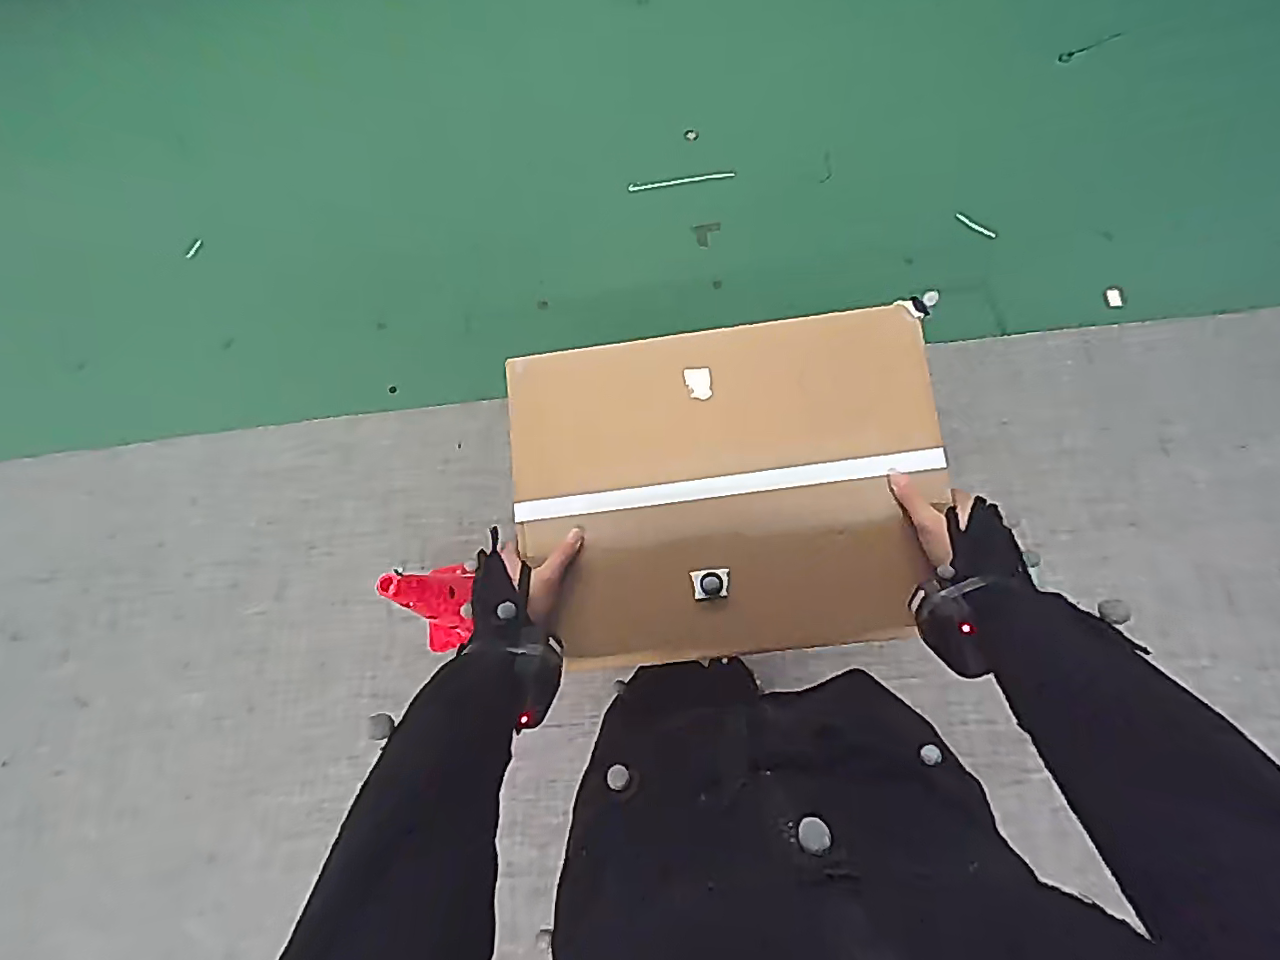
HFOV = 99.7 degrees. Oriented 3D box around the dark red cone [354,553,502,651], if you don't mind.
[{"bbox_3d":[-0.446,0.224,1.115,0.202,0.394,0.201,-13,67,4],"label":"dark red cone"}]
